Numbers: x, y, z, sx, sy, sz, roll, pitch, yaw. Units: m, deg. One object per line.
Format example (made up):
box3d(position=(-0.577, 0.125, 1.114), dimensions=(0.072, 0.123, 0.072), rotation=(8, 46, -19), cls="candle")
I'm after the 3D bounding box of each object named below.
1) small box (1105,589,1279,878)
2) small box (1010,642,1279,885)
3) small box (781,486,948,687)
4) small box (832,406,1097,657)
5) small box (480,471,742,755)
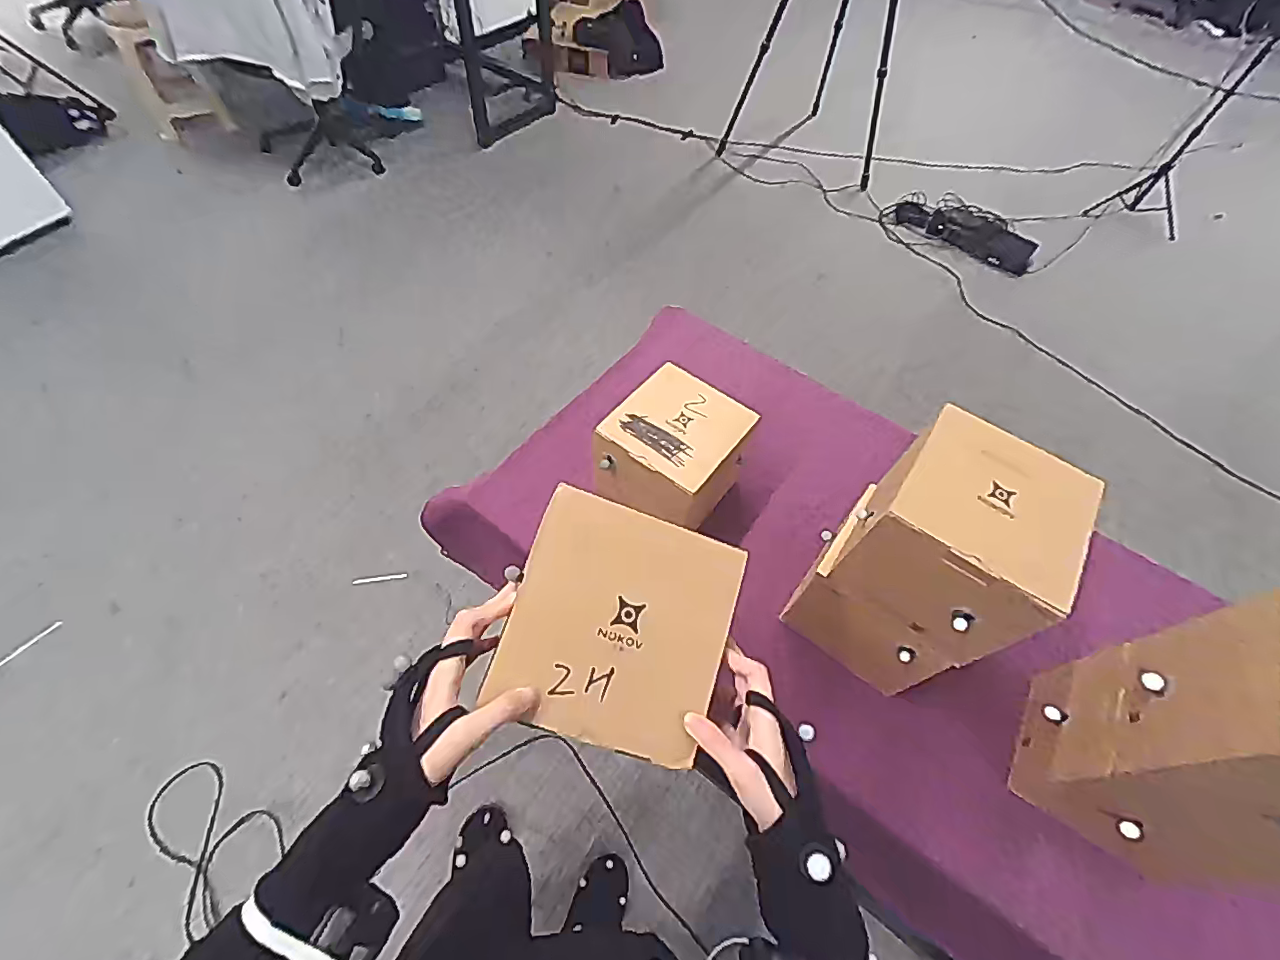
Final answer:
box3d(position=(0.579, 0.234, 0.481), dimensions=(0.179, 0.176, 0.168), rotation=(32, 59, 17), cls="small box")
box3d(position=(0.571, 0.324, 0.619), dimensions=(0.179, 0.176, 0.168), rotation=(31, 60, 17), cls="small box")
box3d(position=(0.316, 0.147, 0.722), dimensions=(0.179, 0.176, 0.168), rotation=(35, 60, 17), cls="small box")
box3d(position=(0.333, 0.061, 0.585), dimensions=(0.168, 0.176, 0.179), rotation=(34, 59, 16), cls="small box")
box3d(position=(-0.033, 0.116, 0.492), dimensions=(0.168, 0.176, 0.179), rotation=(22, 74, -8), cls="small box")
